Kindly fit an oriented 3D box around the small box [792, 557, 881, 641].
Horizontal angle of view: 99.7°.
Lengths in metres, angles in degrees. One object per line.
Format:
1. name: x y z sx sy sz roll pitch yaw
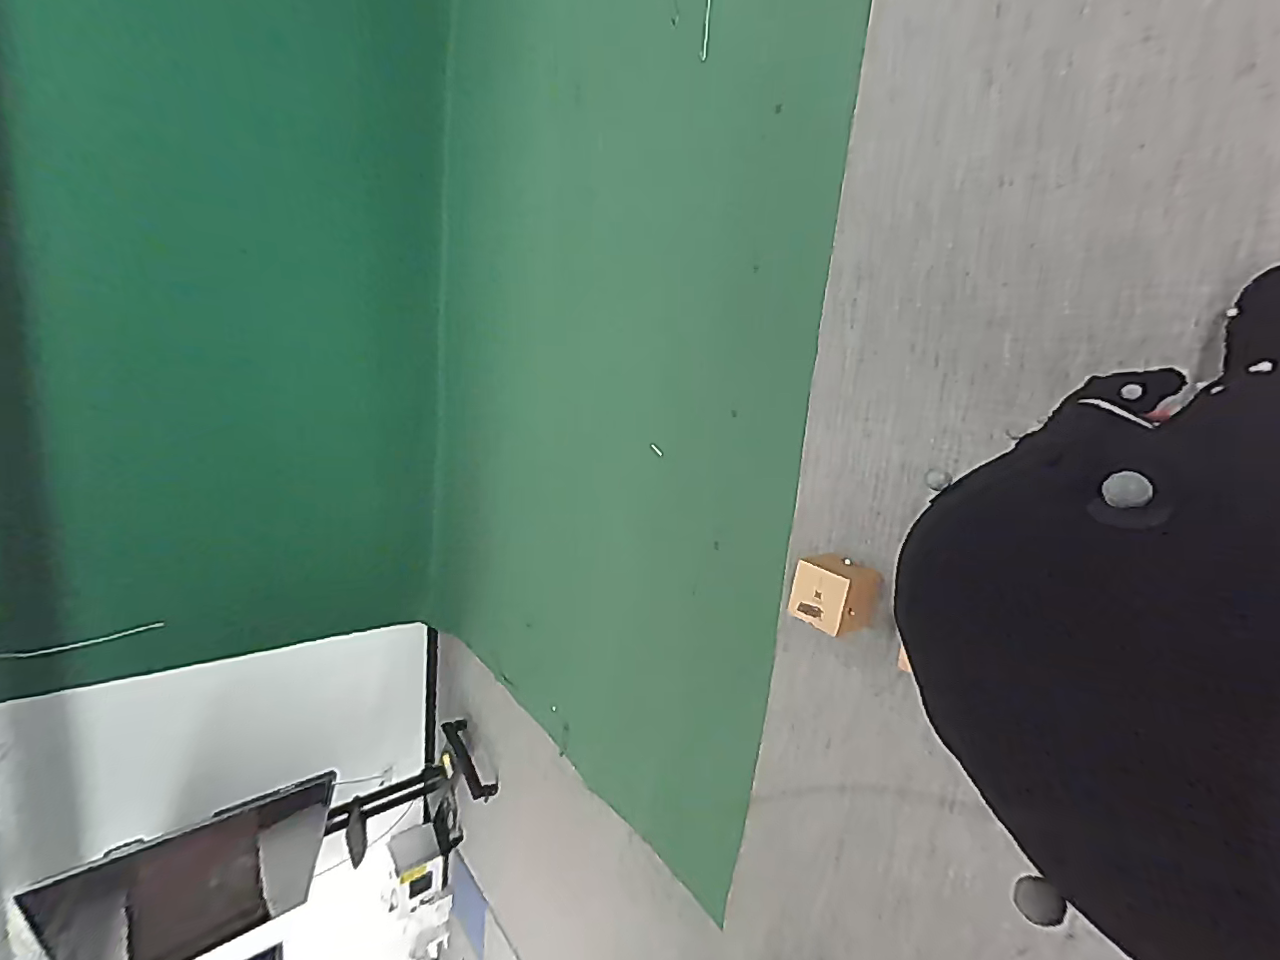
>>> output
1. small box: 0.570 0.336 1.565 0.168 0.176 0.179 22 106 47
